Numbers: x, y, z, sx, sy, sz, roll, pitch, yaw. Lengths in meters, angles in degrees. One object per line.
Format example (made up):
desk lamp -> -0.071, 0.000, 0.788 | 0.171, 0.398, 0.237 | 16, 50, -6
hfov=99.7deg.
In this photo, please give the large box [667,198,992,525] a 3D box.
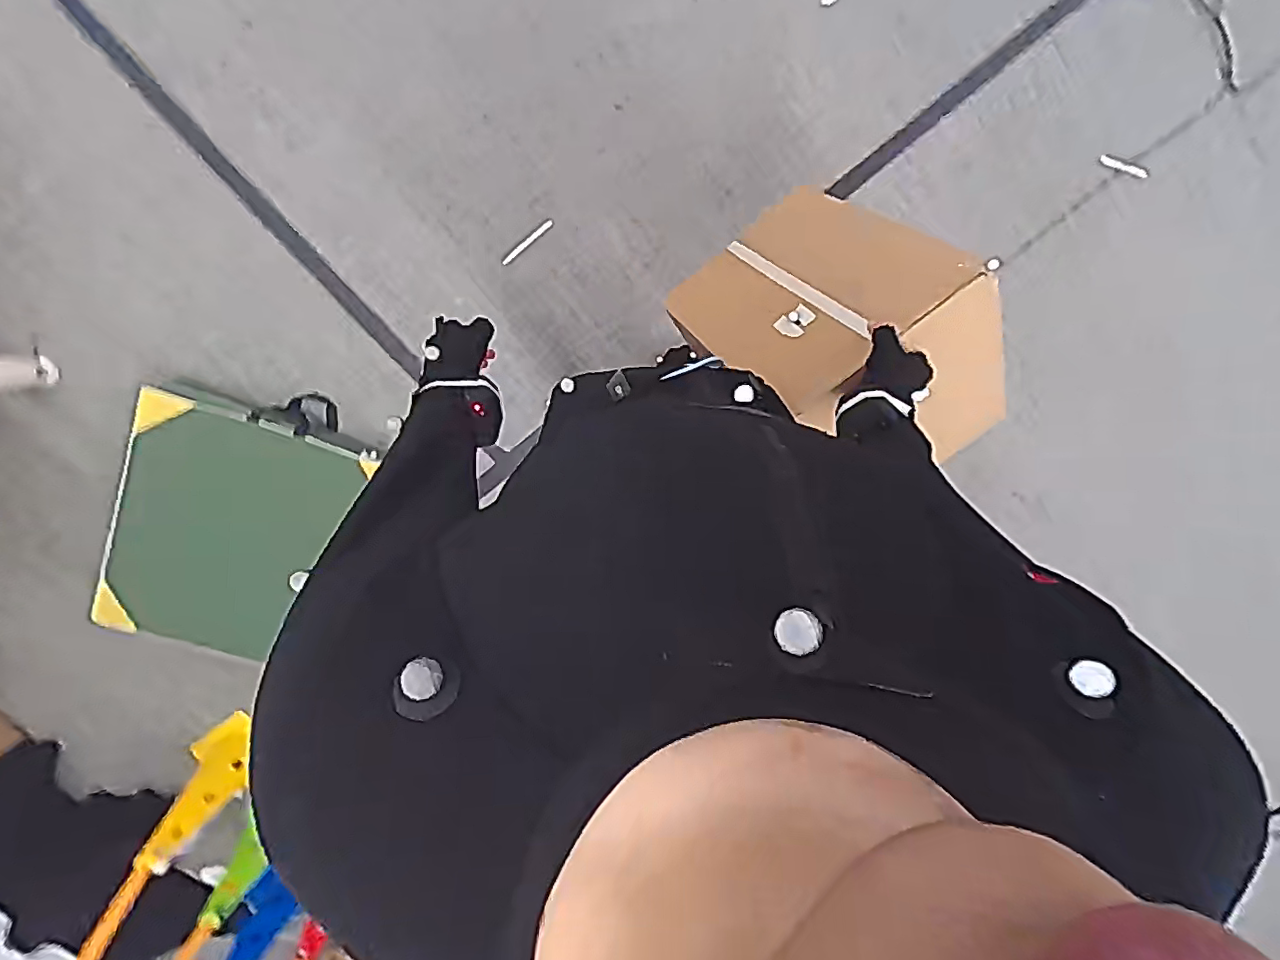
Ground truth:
large box -> 0.310, -0.205, 0.925 | 0.320, 0.408, 0.320 | -37, 136, 6
